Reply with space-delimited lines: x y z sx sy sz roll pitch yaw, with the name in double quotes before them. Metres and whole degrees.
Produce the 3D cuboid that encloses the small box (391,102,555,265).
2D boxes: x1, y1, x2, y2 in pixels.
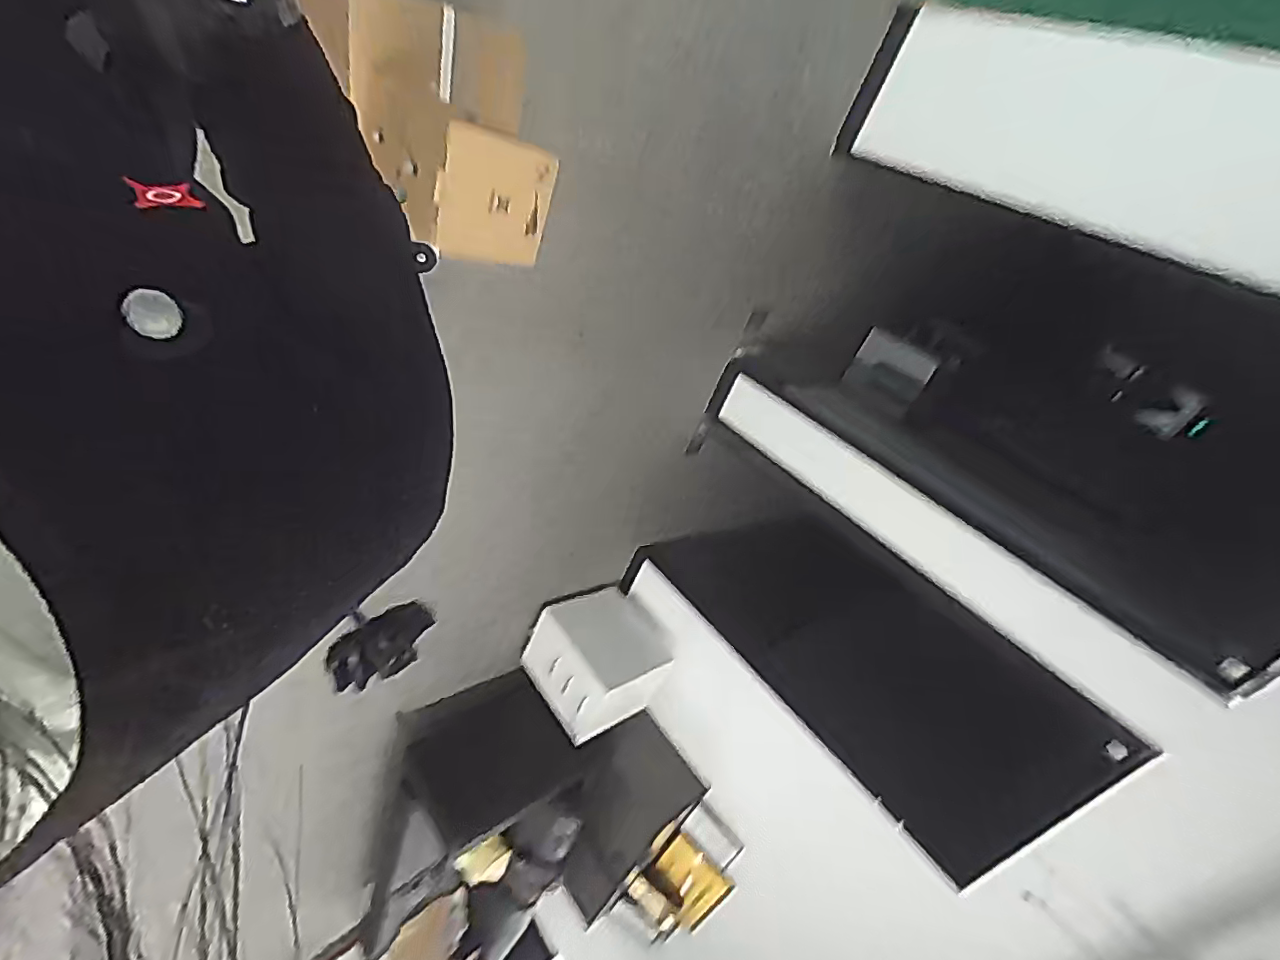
"small box" -0.265 -0.457 0.837 0.179 0.176 0.168 -10 133 -43
